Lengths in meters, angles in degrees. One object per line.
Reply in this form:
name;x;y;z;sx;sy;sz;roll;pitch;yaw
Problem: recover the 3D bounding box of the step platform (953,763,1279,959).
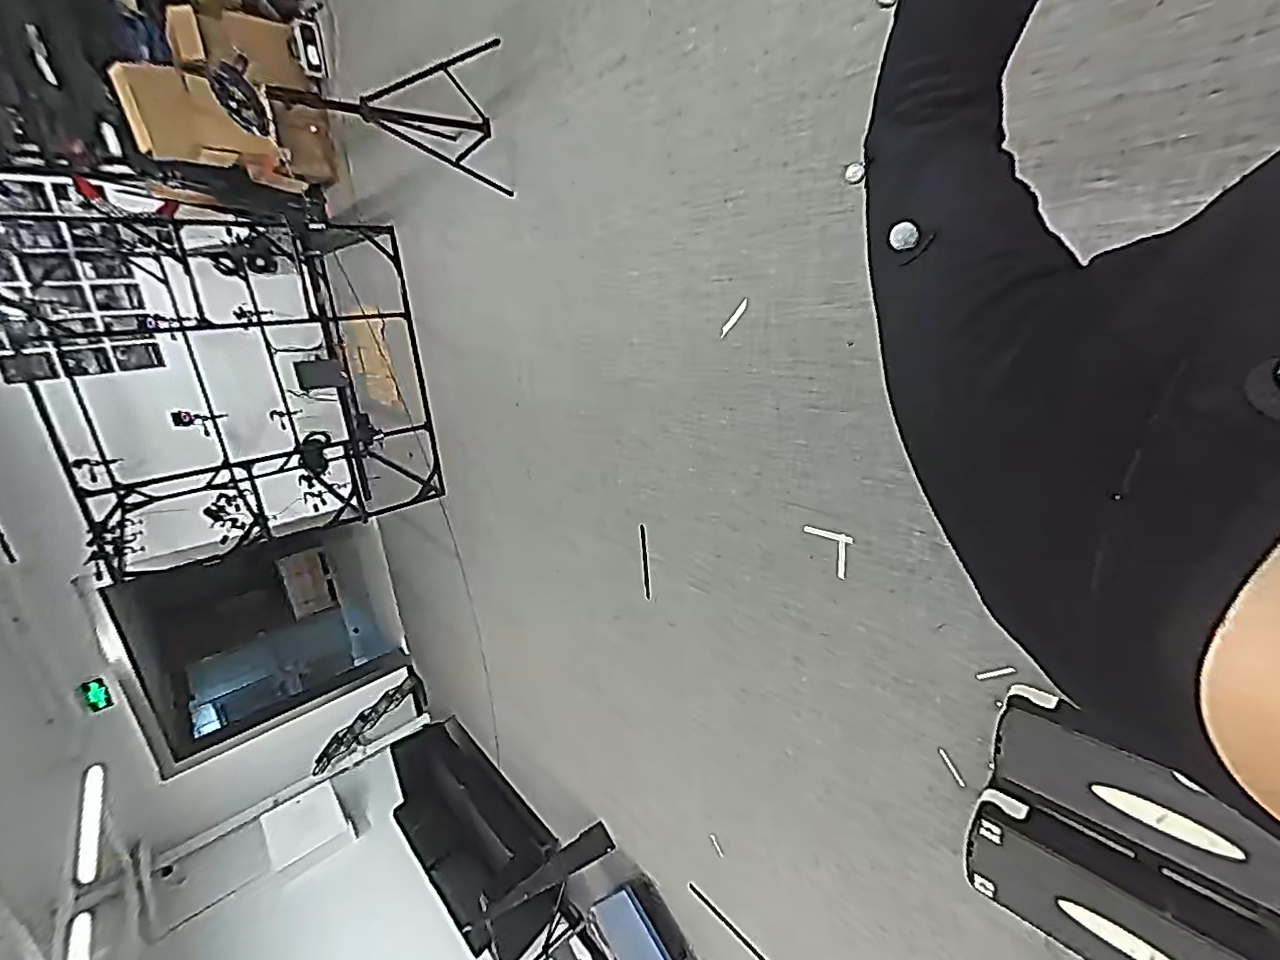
step platform;1.164;1.026;1.330;0.684;0.204;0.286;15;116;48
